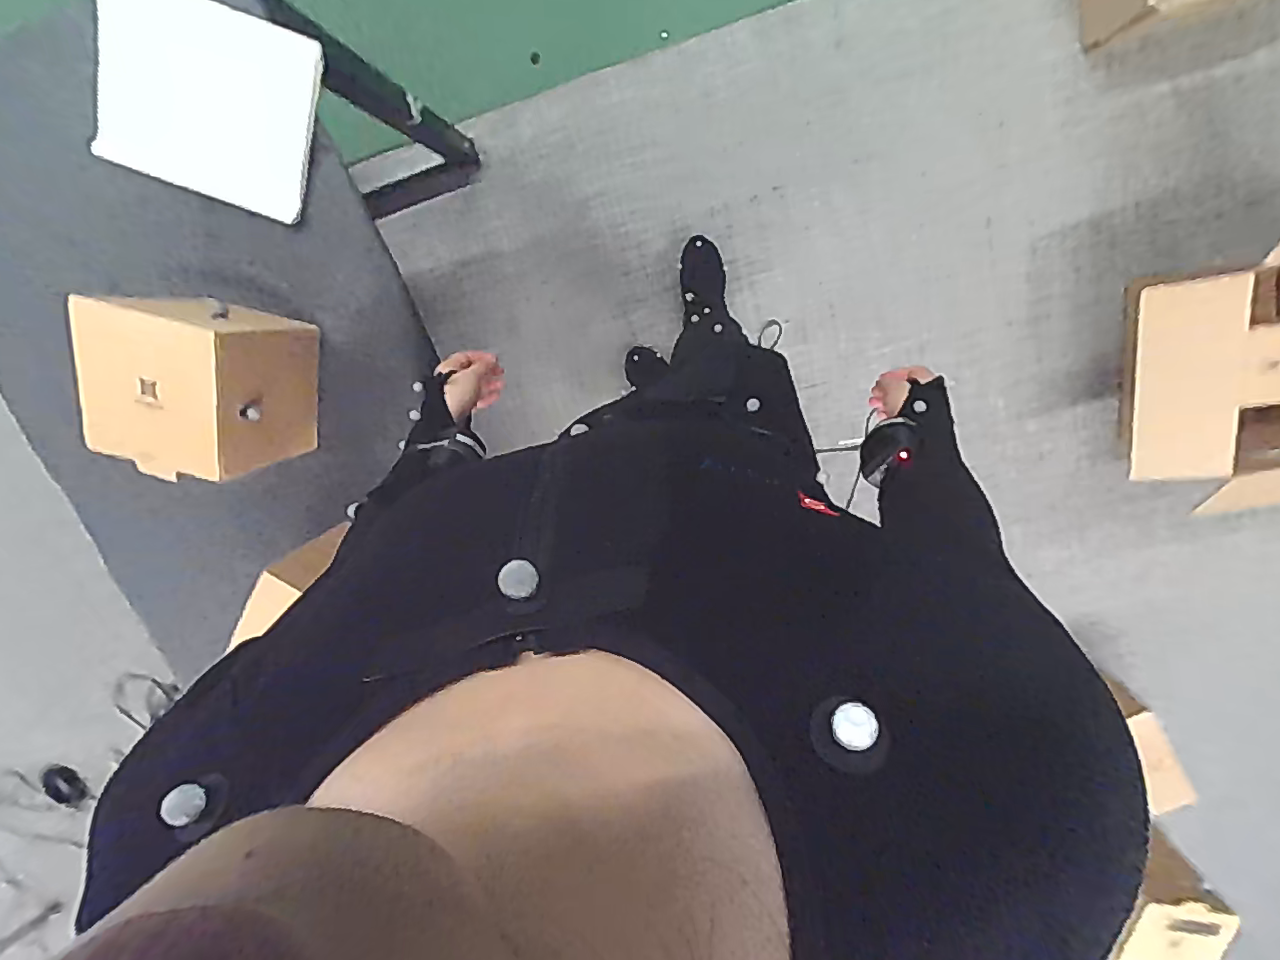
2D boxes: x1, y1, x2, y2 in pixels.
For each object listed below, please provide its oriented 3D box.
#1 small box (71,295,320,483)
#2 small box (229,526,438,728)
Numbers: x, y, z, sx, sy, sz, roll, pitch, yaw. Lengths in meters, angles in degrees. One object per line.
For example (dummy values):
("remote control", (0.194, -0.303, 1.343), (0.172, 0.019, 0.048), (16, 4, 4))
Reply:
("small box", (-0.523, -0.120, 0.664), (0.168, 0.176, 0.179), (13, 110, 1))
("small box", (-0.411, 0.193, 0.755), (0.168, 0.176, 0.179), (32, 108, -5))
